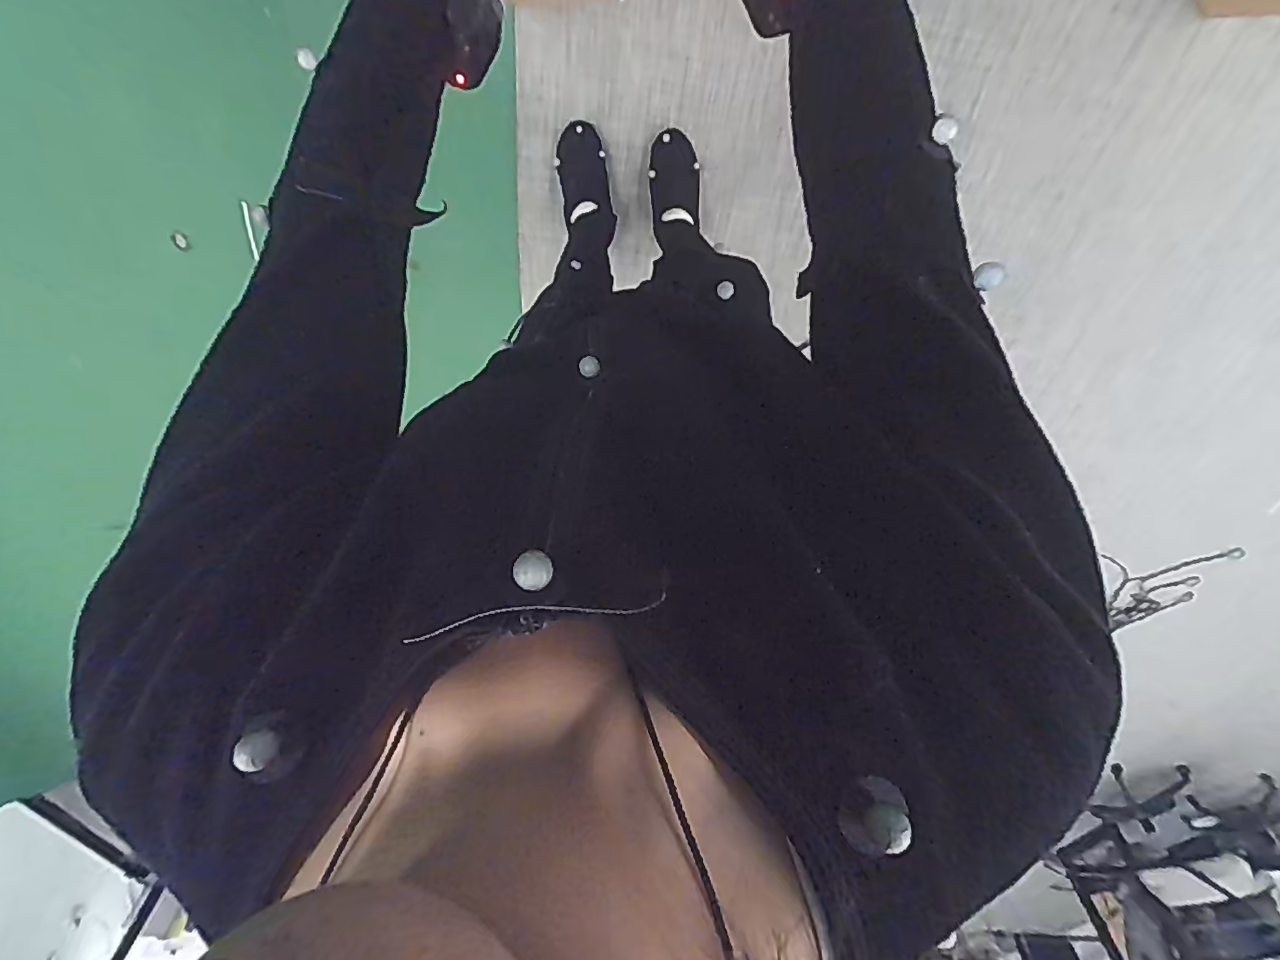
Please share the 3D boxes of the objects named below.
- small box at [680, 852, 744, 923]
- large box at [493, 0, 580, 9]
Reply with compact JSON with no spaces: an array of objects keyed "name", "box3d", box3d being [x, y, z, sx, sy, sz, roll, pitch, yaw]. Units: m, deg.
[{"name":"small box","box3d":[0.223,1.325,1.740,0.168,0.176,0.179,8,126,-5]},{"name":"large box","box3d":[-0.044,-0.960,0.826,0.408,0.320,0.320,-4,127,6]}]
